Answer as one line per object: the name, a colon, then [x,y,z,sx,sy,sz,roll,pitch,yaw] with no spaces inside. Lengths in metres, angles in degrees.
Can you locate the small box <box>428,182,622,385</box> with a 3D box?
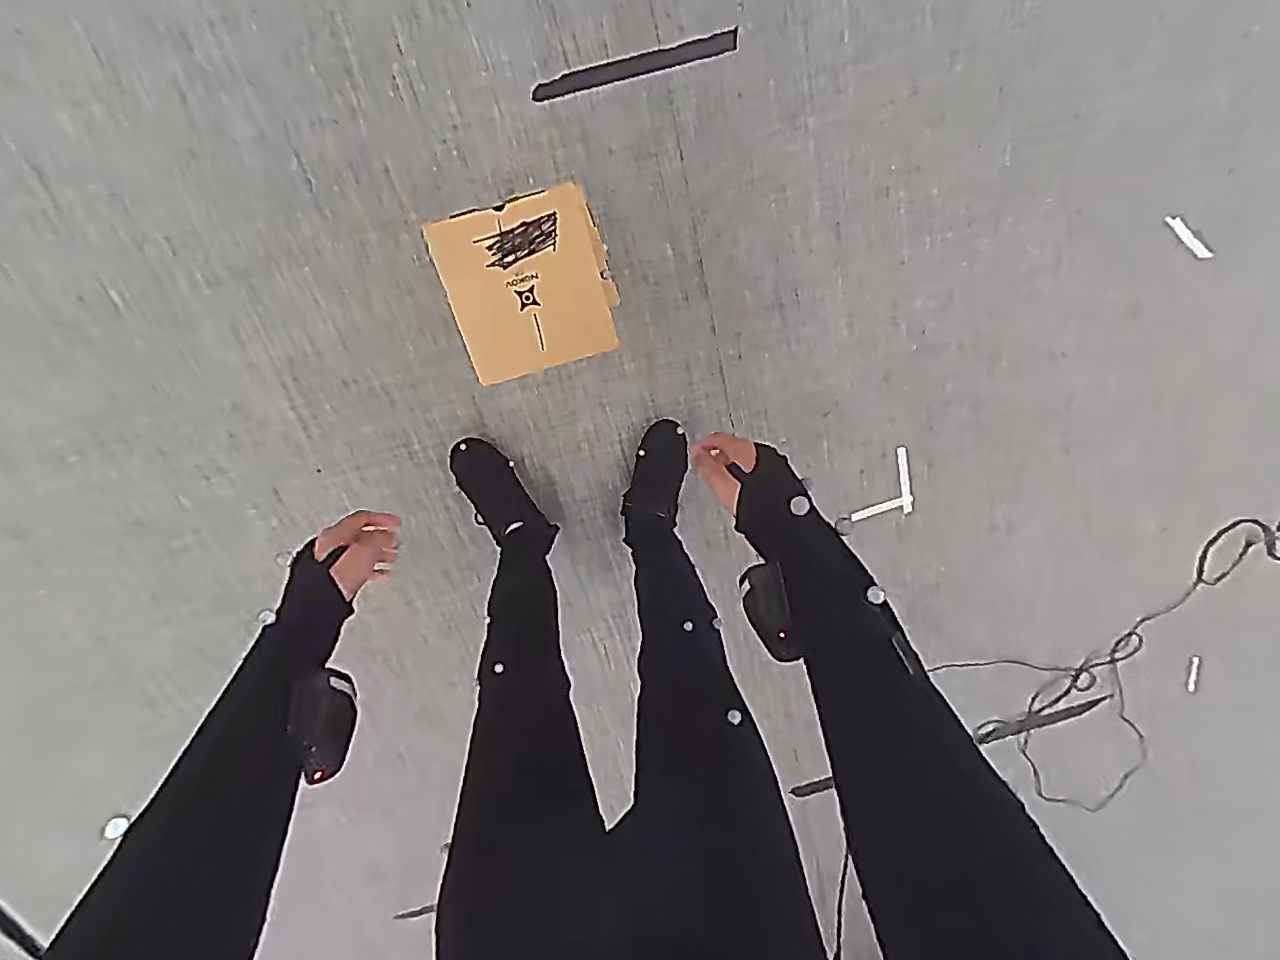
small box: [-0.127,-0.231,0.651,0.168,0.176,0.179,-16,112,0]
